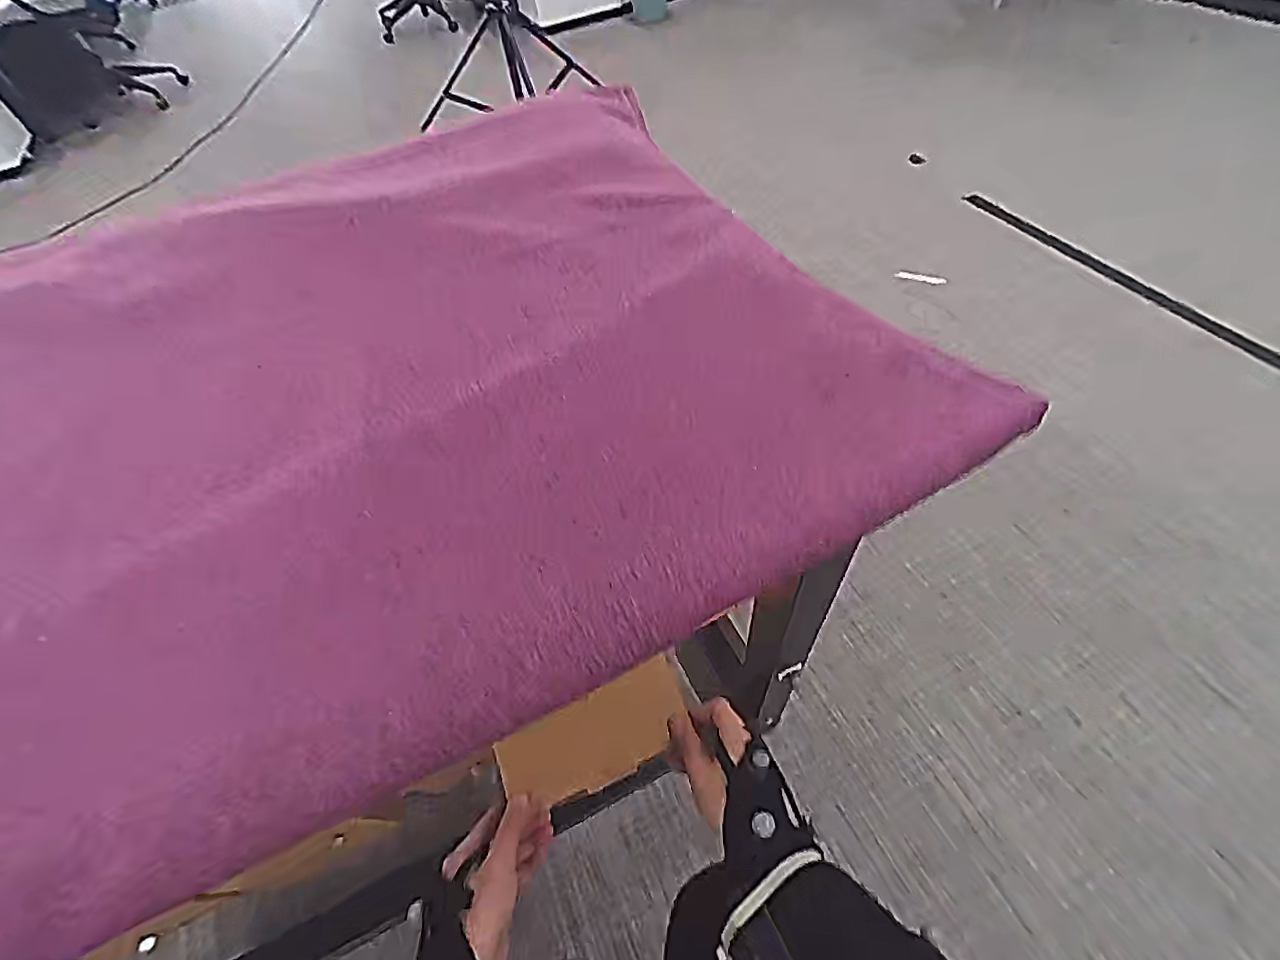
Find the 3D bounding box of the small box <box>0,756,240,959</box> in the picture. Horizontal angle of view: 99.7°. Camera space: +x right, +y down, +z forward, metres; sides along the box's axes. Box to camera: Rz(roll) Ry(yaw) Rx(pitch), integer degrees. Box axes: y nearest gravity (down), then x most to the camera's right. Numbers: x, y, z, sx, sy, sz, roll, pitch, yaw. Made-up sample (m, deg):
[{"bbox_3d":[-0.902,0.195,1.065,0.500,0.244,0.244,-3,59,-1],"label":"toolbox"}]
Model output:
[{"bbox_3d":[-0.647,0.485,0.686,0.168,0.176,0.179,-24,58,-11],"label":"small box"}]
